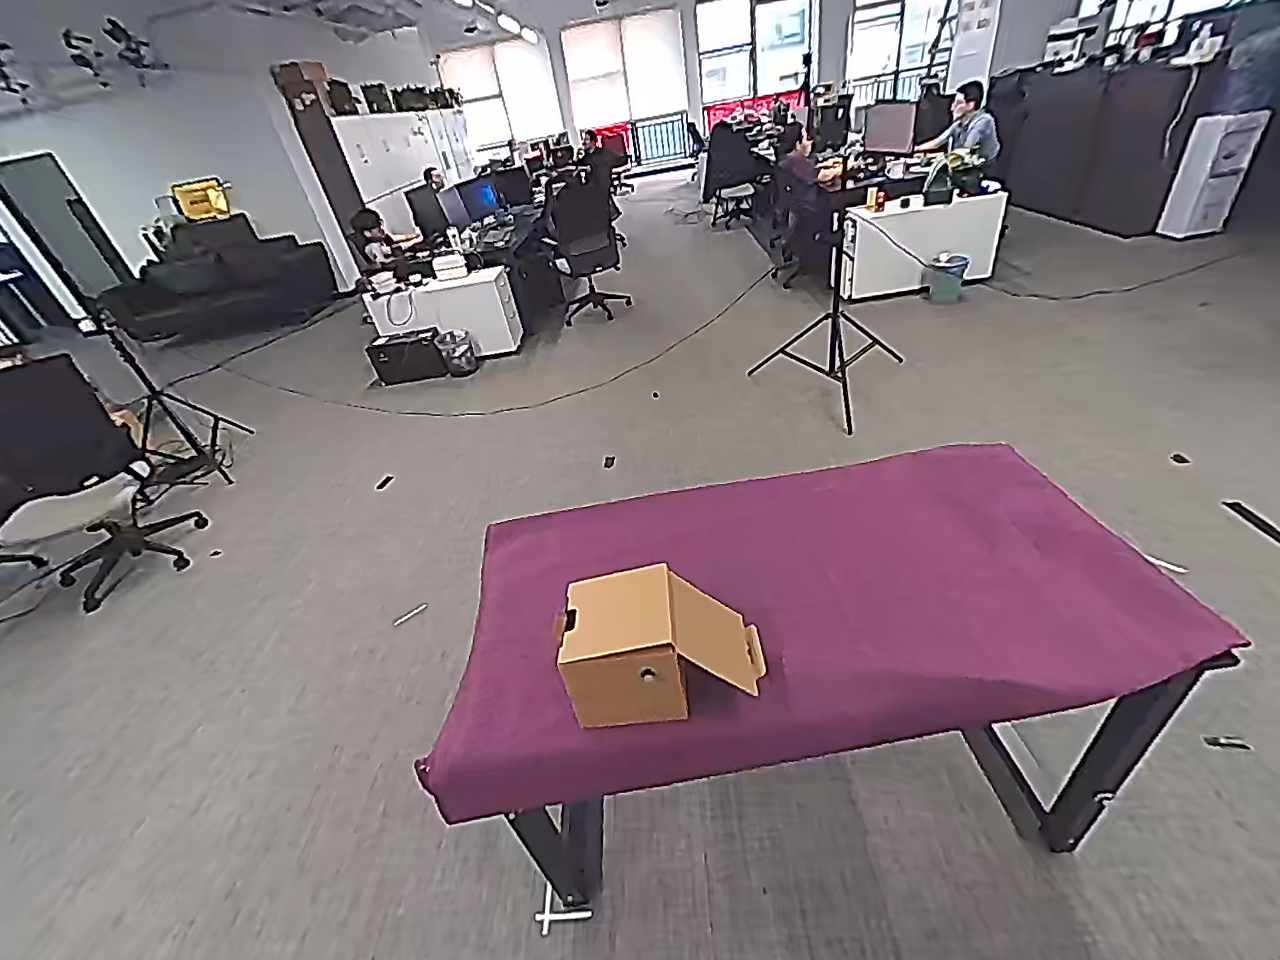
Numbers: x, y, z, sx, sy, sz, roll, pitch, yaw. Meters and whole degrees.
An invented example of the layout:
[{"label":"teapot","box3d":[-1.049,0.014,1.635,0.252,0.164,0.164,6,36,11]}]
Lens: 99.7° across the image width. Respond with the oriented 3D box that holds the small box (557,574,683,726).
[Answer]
[{"label":"small box","box3d":[-0.023,0.279,0.887,0.179,0.176,0.168,-8,33,5]}]
